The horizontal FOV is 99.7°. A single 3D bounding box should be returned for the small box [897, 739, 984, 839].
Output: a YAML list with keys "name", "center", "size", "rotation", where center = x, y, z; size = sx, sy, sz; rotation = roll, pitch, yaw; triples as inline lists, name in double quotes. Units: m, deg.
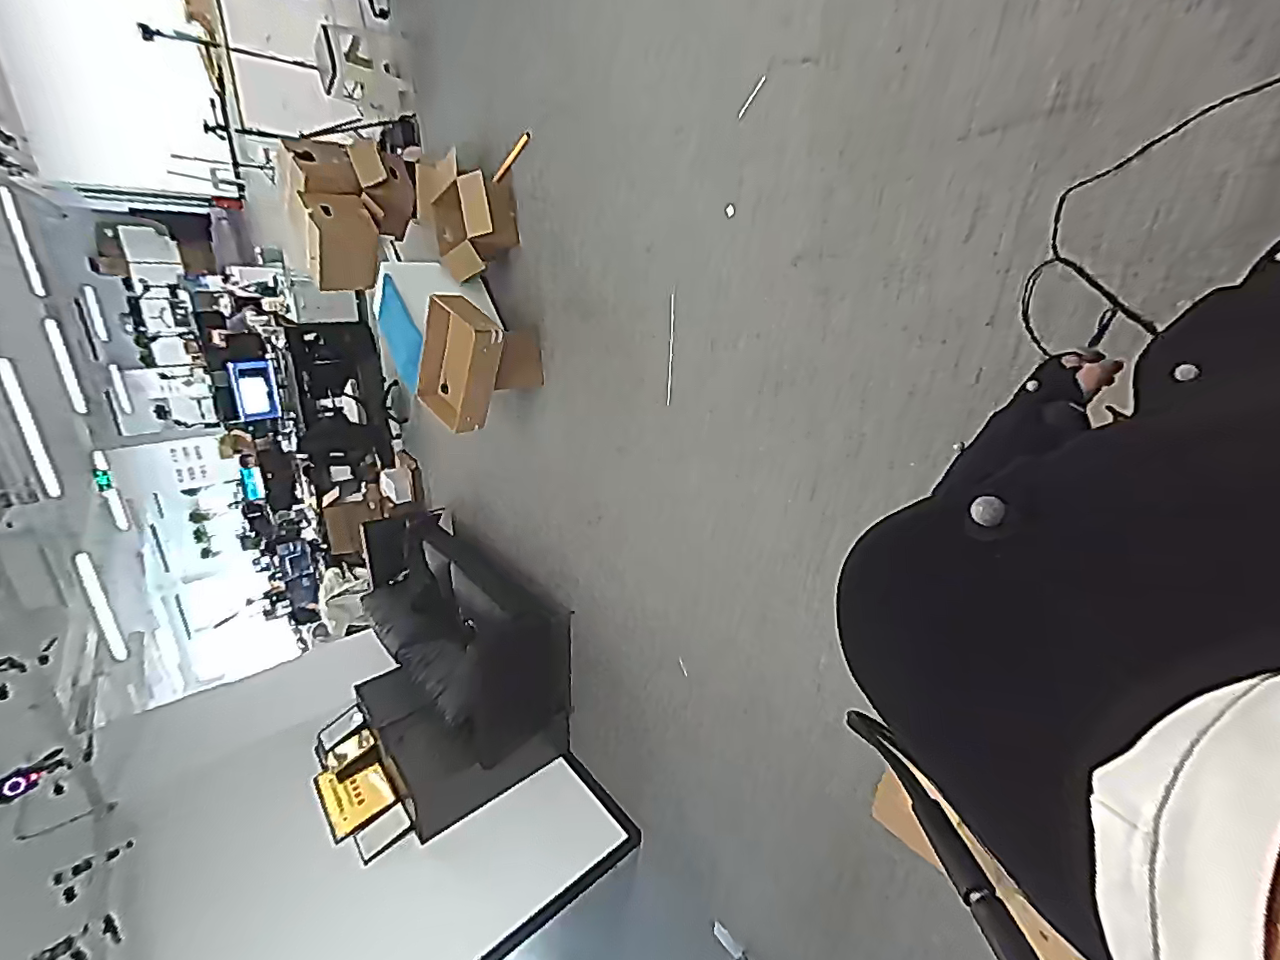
- name: "small box"
  center: [0.942, 0.957, 1.690]
  size: [0.168, 0.176, 0.179]
  rotation: [30, 125, 42]

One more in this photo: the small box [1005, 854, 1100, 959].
- name: "small box"
  center: [1.157, 1.215, 1.516]
  size: [0.168, 0.176, 0.179]
  rotation: [16, 116, 48]
